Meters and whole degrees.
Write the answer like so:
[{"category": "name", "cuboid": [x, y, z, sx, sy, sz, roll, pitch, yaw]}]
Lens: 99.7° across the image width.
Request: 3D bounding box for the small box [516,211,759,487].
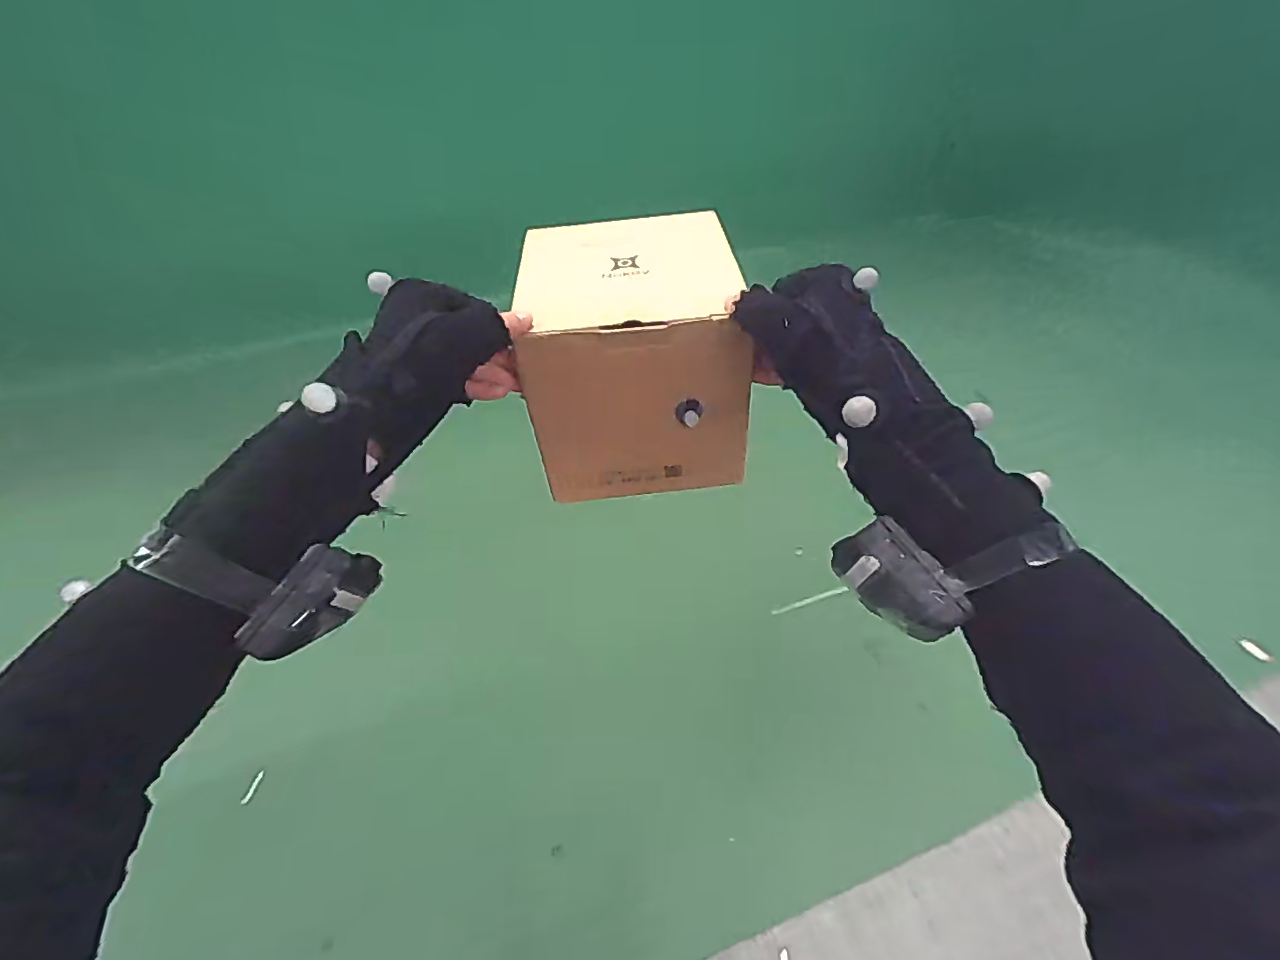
[{"category": "small box", "cuboid": [0.000, -0.107, 0.467, 0.168, 0.176, 0.179, -5, 45, 0]}]
